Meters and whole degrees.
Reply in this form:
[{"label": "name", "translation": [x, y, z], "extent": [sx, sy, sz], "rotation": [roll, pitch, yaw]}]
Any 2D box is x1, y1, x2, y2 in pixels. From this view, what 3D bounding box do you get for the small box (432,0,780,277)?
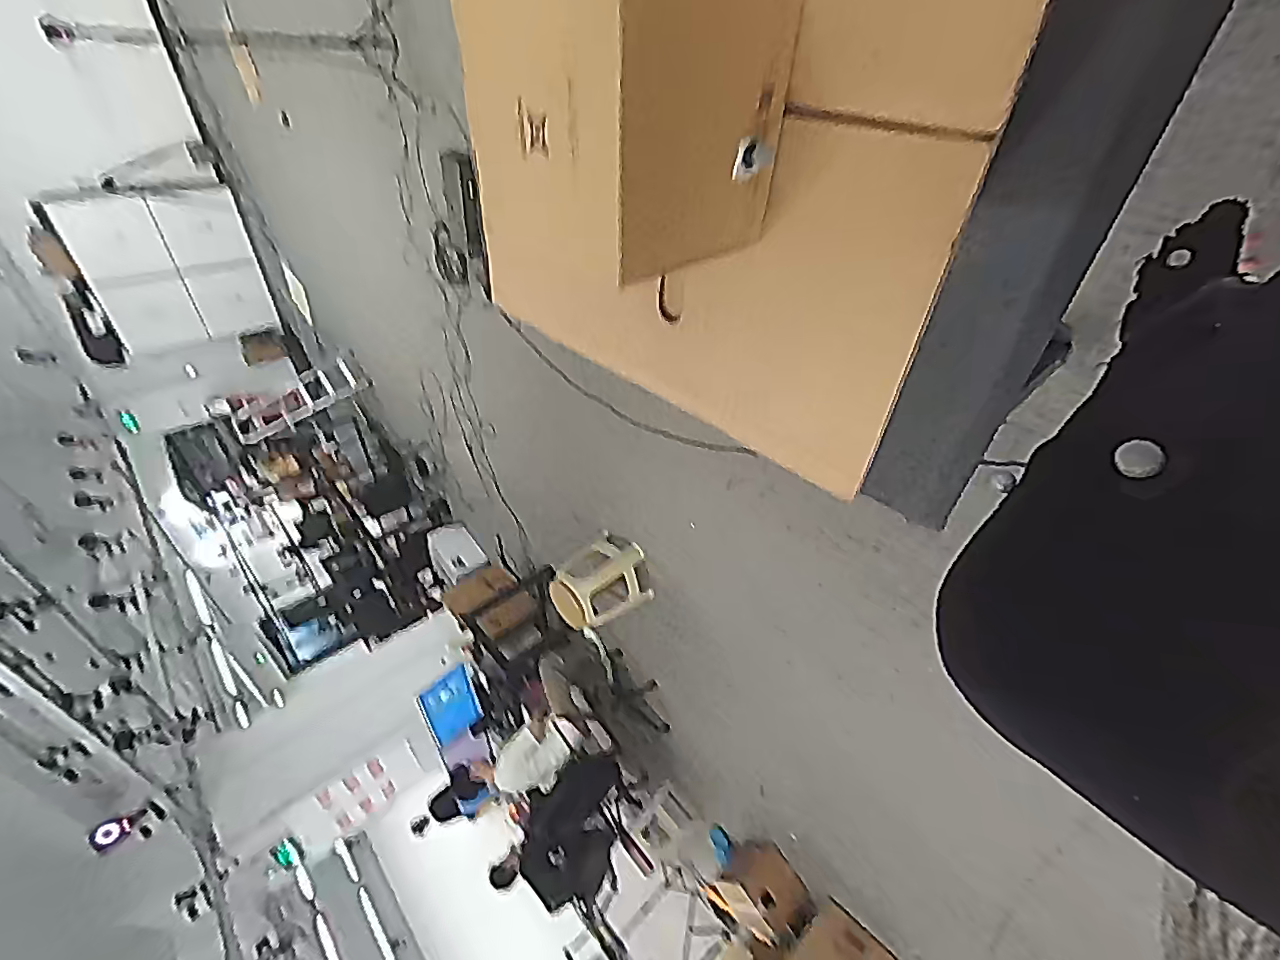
[{"label": "small box", "translation": [-0.026, -0.273, 0.406], "extent": [0.179, 0.176, 0.168], "rotation": [33, 139, 32]}]
